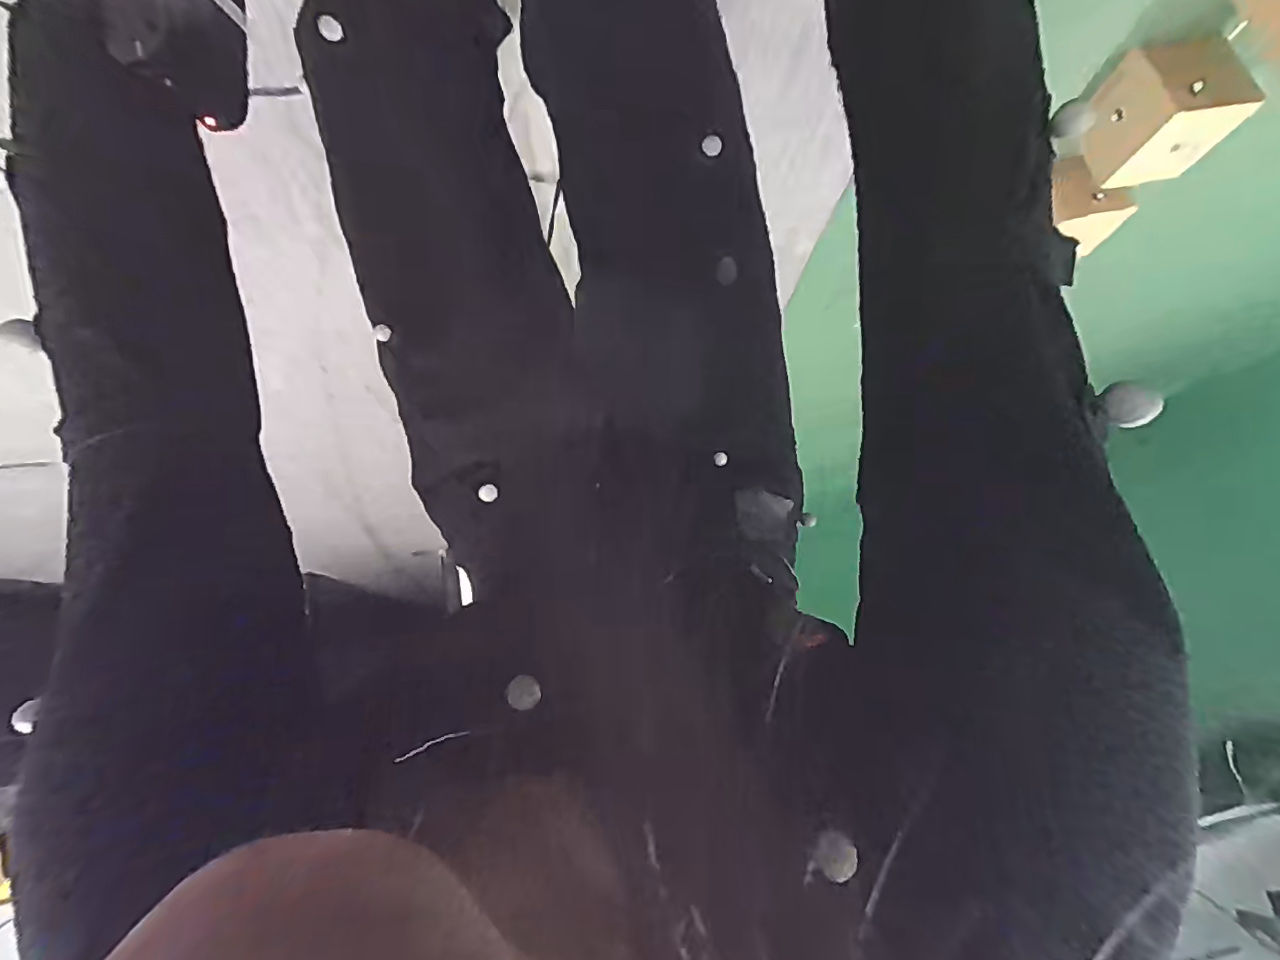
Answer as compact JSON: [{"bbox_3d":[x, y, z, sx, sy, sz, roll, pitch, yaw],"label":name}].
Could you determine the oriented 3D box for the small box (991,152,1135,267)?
[{"bbox_3d":[0.980,-0.637,1.269,0.179,0.176,0.168,-12,164,-2],"label":"small box"}]

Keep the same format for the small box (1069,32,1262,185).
[{"bbox_3d":[0.981,-0.704,1.030,0.179,0.176,0.168,-11,165,-5],"label":"small box"}]

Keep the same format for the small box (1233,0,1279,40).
[{"bbox_3d":[1.014,-0.782,0.786,0.179,0.176,0.168,-6,162,-16],"label":"small box"}]
